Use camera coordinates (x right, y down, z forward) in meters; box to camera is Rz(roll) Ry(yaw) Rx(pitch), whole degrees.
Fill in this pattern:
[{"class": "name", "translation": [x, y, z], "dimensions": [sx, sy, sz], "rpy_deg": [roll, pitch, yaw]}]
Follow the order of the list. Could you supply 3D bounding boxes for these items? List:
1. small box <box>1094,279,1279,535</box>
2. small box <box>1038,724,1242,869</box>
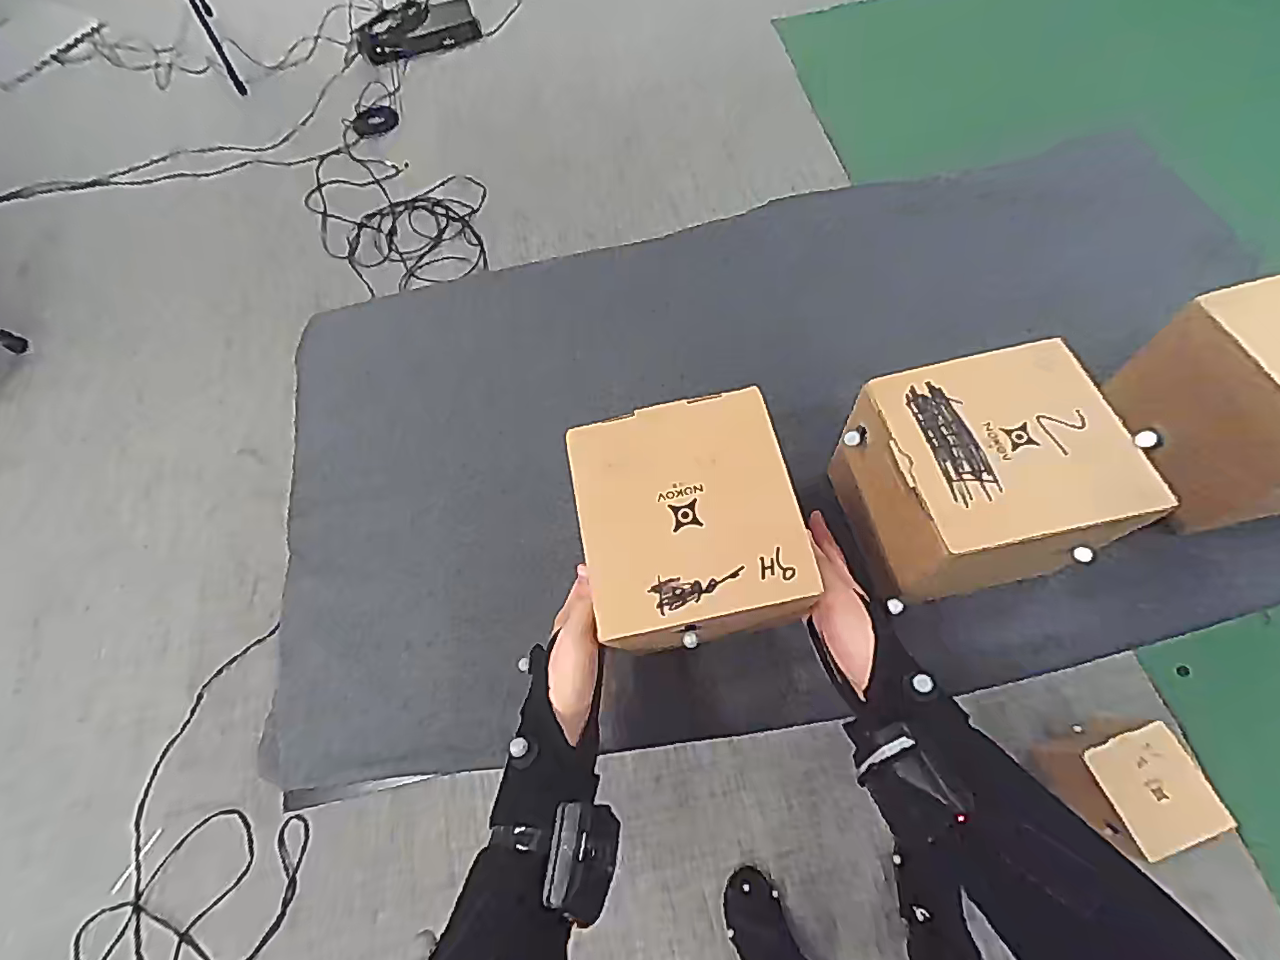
[{"class": "small box", "translation": [0.584, -0.067, 0.491], "dimensions": [0.179, 0.176, 0.168], "rpy_deg": [-13, 62, 3]}, {"class": "small box", "translation": [0.888, 0.561, 0.984], "dimensions": [0.168, 0.176, 0.179], "rpy_deg": [-21, 66, -2]}]
